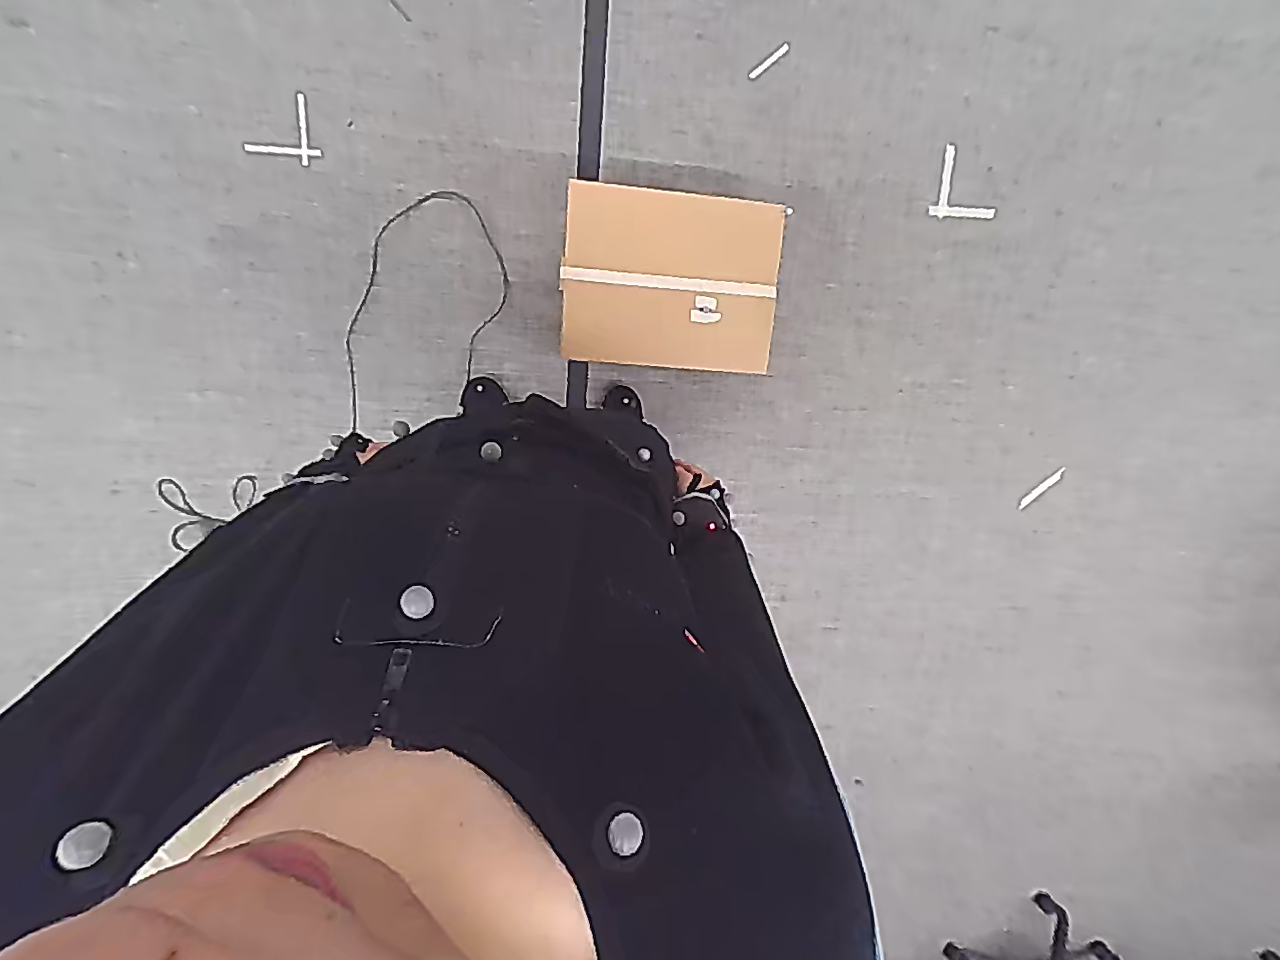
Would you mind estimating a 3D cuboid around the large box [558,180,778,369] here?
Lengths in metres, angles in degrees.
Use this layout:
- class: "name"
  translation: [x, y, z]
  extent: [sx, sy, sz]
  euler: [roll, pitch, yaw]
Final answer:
- class: "large box"
  translation: [0.032, -0.405, 1.148]
  extent: [0.408, 0.320, 0.320]
  euler: [2, 104, -8]
